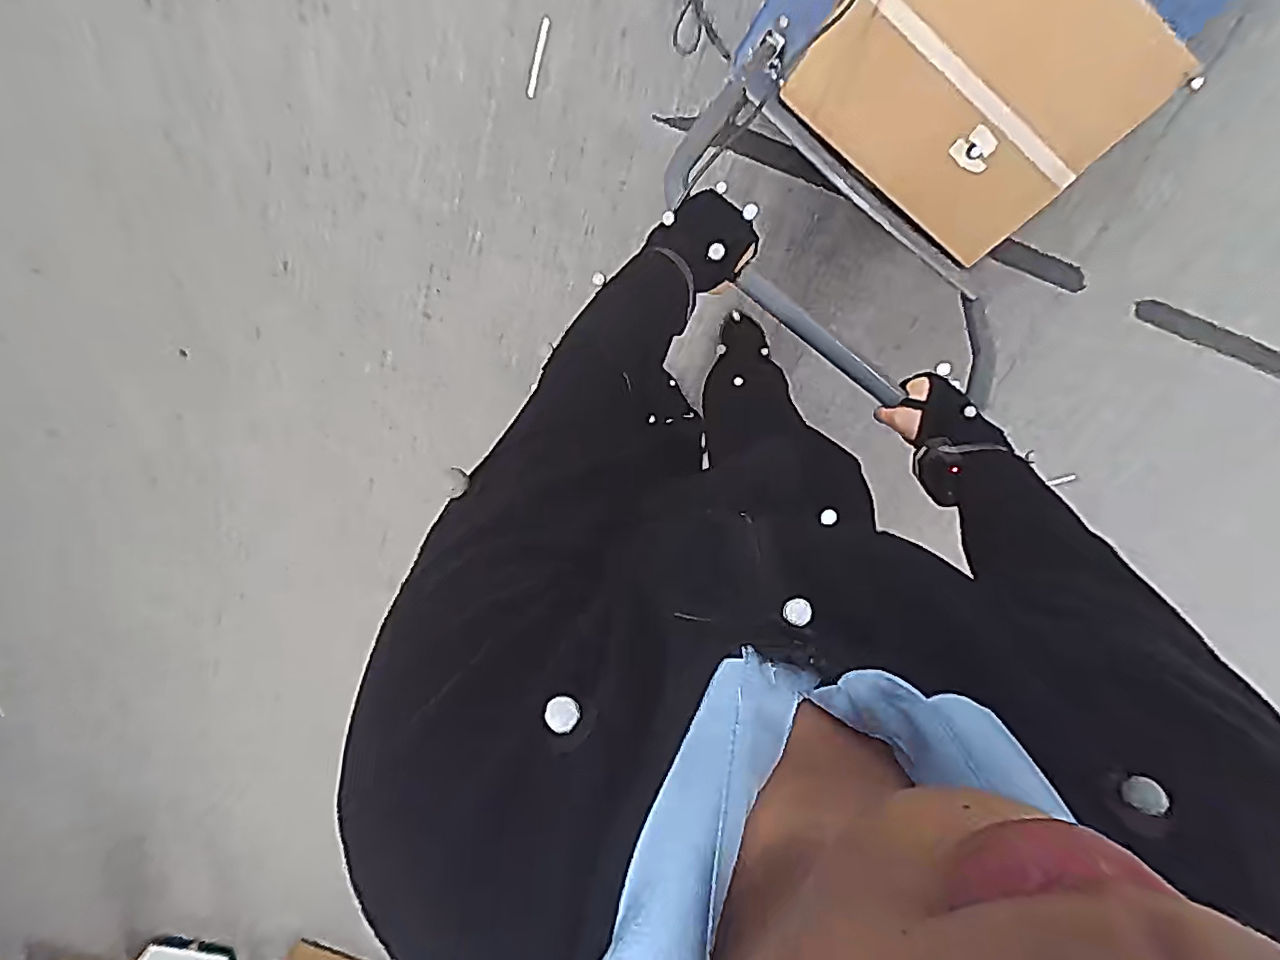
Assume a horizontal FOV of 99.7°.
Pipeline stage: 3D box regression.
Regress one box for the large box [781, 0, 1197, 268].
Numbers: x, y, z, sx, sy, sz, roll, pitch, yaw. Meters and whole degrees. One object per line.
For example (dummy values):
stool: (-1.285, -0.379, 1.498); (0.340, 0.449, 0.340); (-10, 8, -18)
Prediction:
large box: (0.476, -0.618, 0.823); (0.408, 0.320, 0.320); (33, 135, -12)
